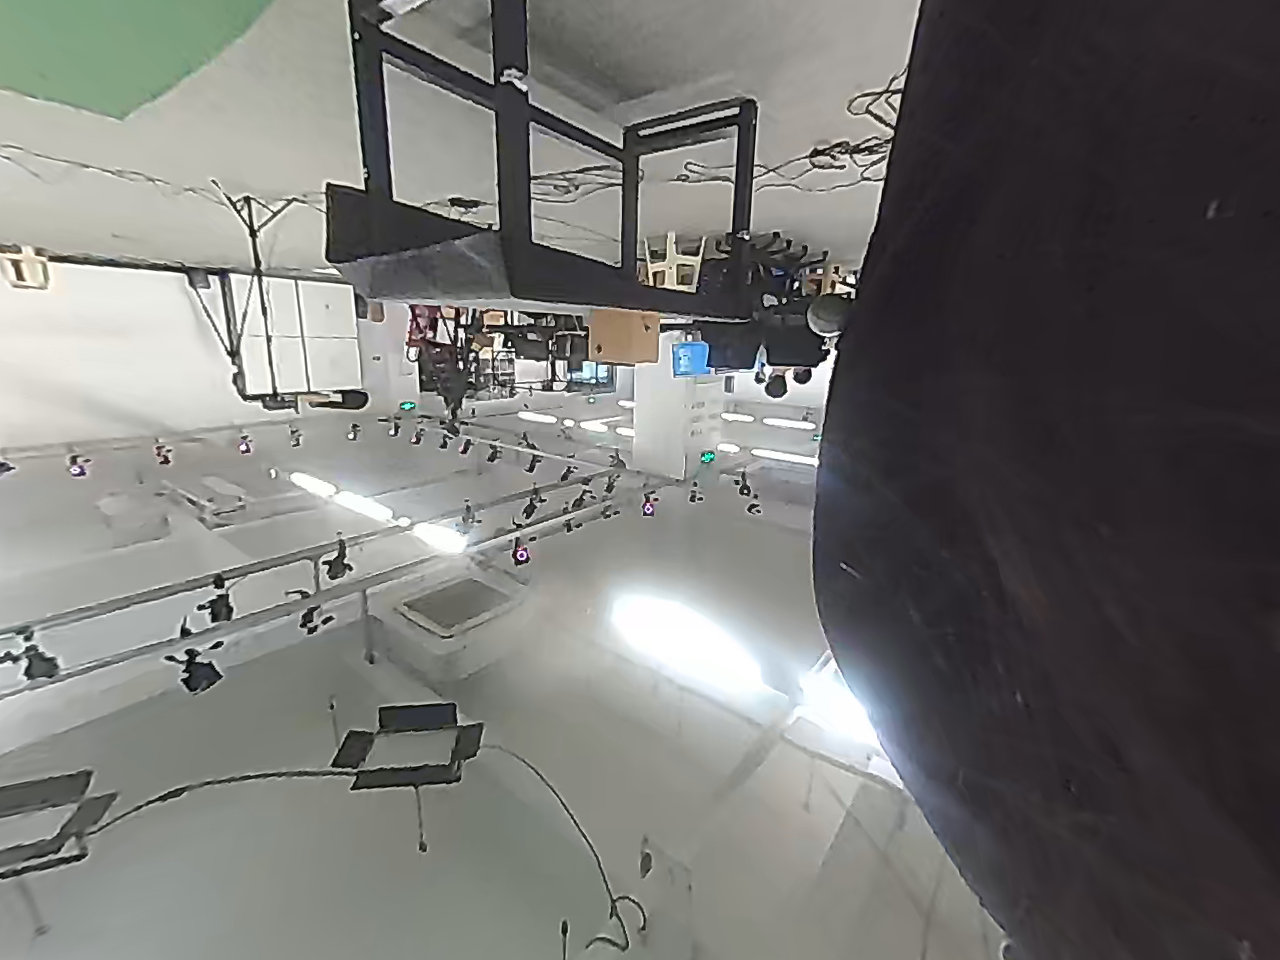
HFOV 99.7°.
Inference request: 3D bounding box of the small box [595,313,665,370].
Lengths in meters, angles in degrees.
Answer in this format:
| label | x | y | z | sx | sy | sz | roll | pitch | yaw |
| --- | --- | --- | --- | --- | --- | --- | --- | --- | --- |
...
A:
| label | x | y | z | sx | sy | sz | roll | pitch | yaw |
| --- | --- | --- | --- | --- | --- | --- | --- | --- | --- |
| small box | -0.029 | -0.458 | 1.791 | 0.179 | 0.176 | 0.168 | 12 | -162 | 34 |
